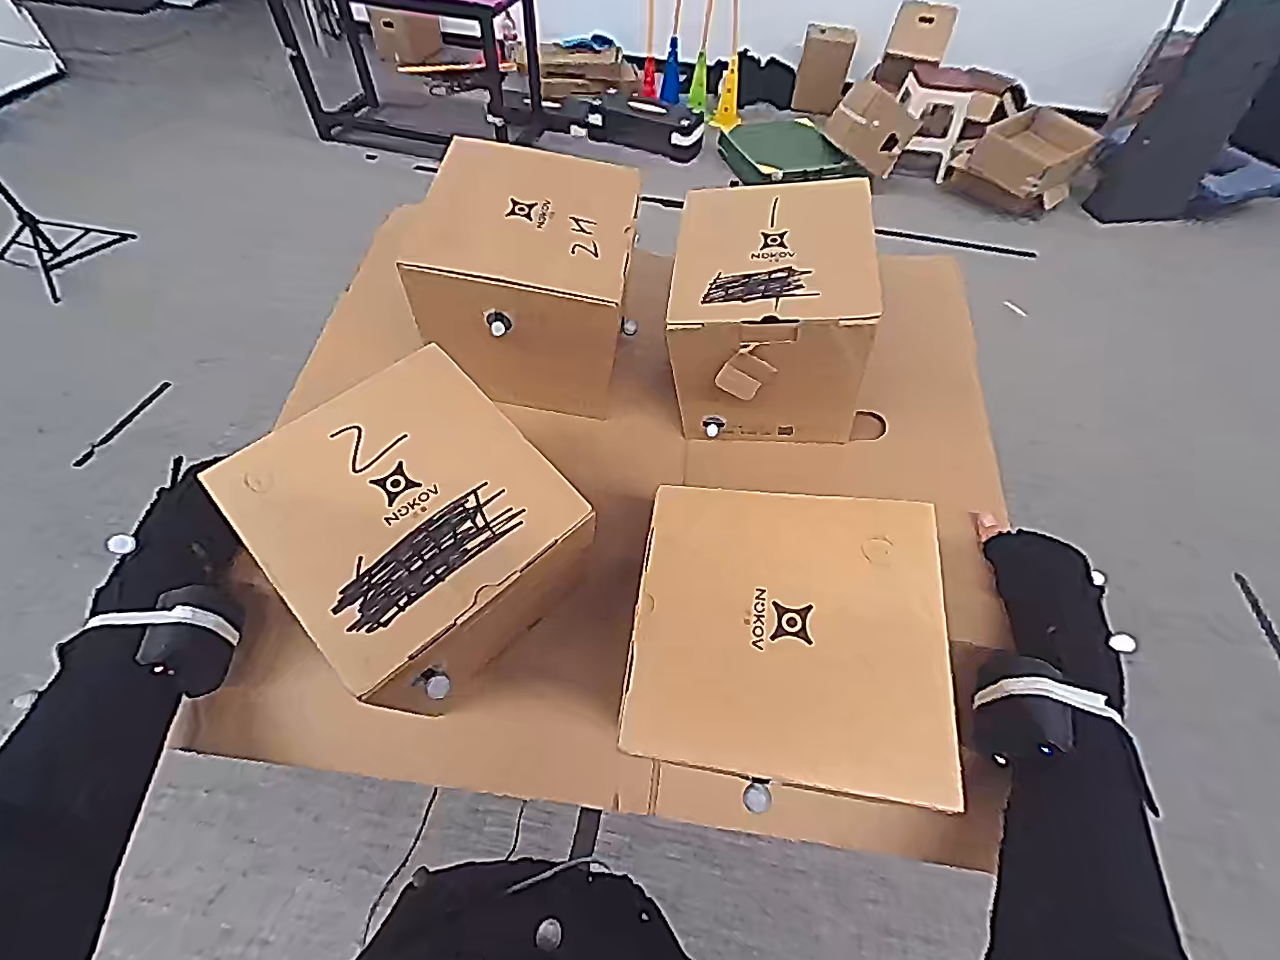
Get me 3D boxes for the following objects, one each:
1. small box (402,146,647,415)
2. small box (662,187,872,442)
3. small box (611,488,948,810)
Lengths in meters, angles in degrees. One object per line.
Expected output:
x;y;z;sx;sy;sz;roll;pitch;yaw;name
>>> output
-0.099;-0.182;0.529;0.179;0.176;0.168;10;63;-3;small box
0.125;-0.154;0.531;0.168;0.176;0.179;5;60;13;small box
0.095;0.120;0.388;0.179;0.176;0.168;4;63;14;small box
